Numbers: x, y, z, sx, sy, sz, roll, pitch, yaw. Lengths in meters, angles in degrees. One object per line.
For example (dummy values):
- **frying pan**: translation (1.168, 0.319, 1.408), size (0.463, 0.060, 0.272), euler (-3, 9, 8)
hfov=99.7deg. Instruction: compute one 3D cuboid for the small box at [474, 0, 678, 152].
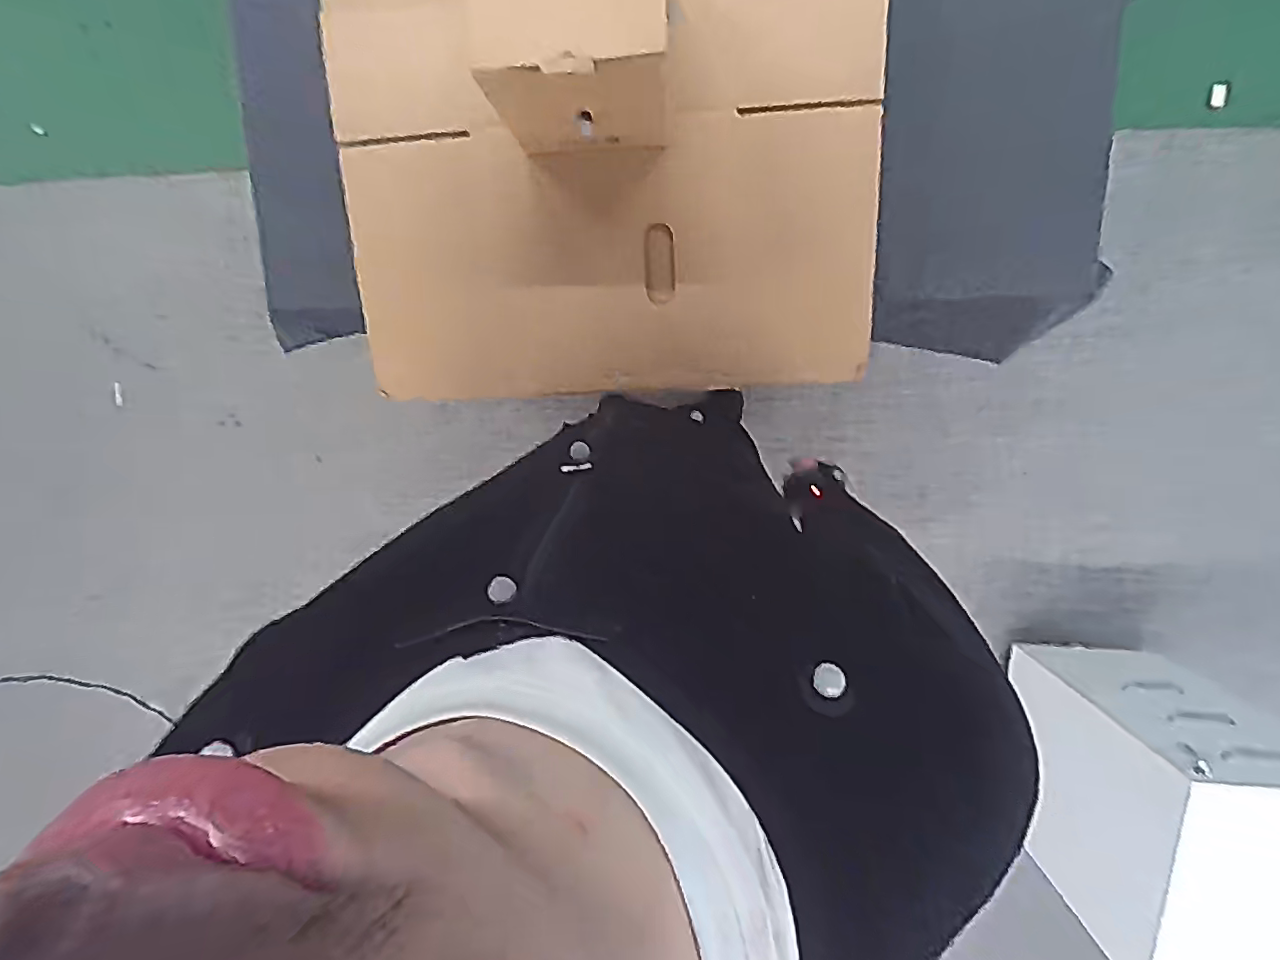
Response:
- **small box**: translation (-0.051, -0.436, 0.512), size (0.168, 0.176, 0.179), euler (-3, 100, 5)
